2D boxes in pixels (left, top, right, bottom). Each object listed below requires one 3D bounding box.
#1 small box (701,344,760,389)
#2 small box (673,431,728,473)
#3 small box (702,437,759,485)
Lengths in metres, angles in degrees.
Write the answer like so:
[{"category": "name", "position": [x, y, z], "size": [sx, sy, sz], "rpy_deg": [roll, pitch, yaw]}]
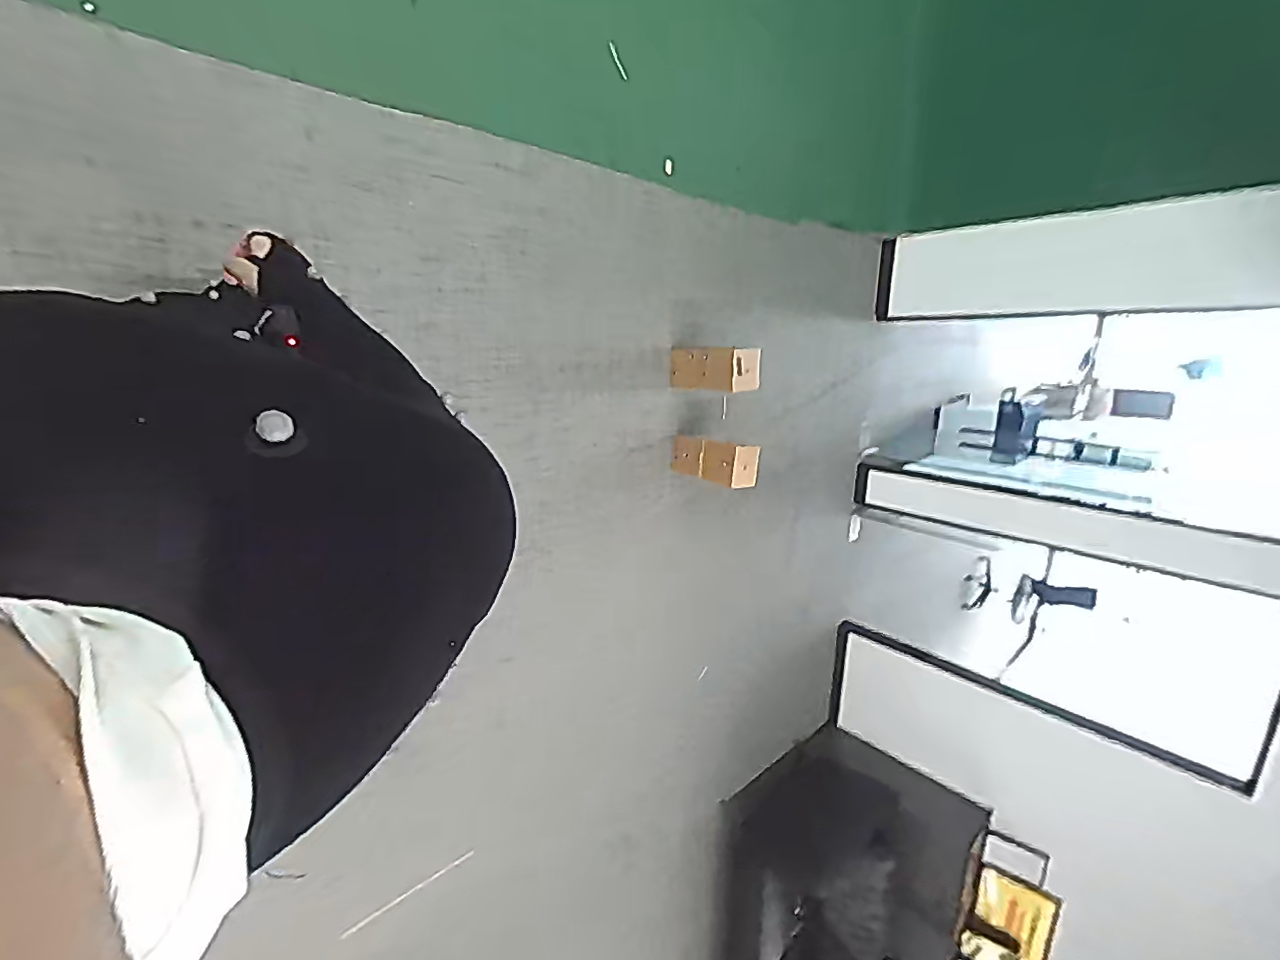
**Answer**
[{"category": "small box", "position": [0.360, -0.459, 2.171], "size": [0.179, 0.176, 0.168], "rpy_deg": [-15, 112, -41]}, {"category": "small box", "position": [0.267, -0.124, 2.405], "size": [0.179, 0.176, 0.168], "rpy_deg": [-1, 103, -42]}, {"category": "small box", "position": [0.381, -0.083, 2.295], "size": [0.168, 0.176, 0.179], "rpy_deg": [-4, 104, -42]}]
